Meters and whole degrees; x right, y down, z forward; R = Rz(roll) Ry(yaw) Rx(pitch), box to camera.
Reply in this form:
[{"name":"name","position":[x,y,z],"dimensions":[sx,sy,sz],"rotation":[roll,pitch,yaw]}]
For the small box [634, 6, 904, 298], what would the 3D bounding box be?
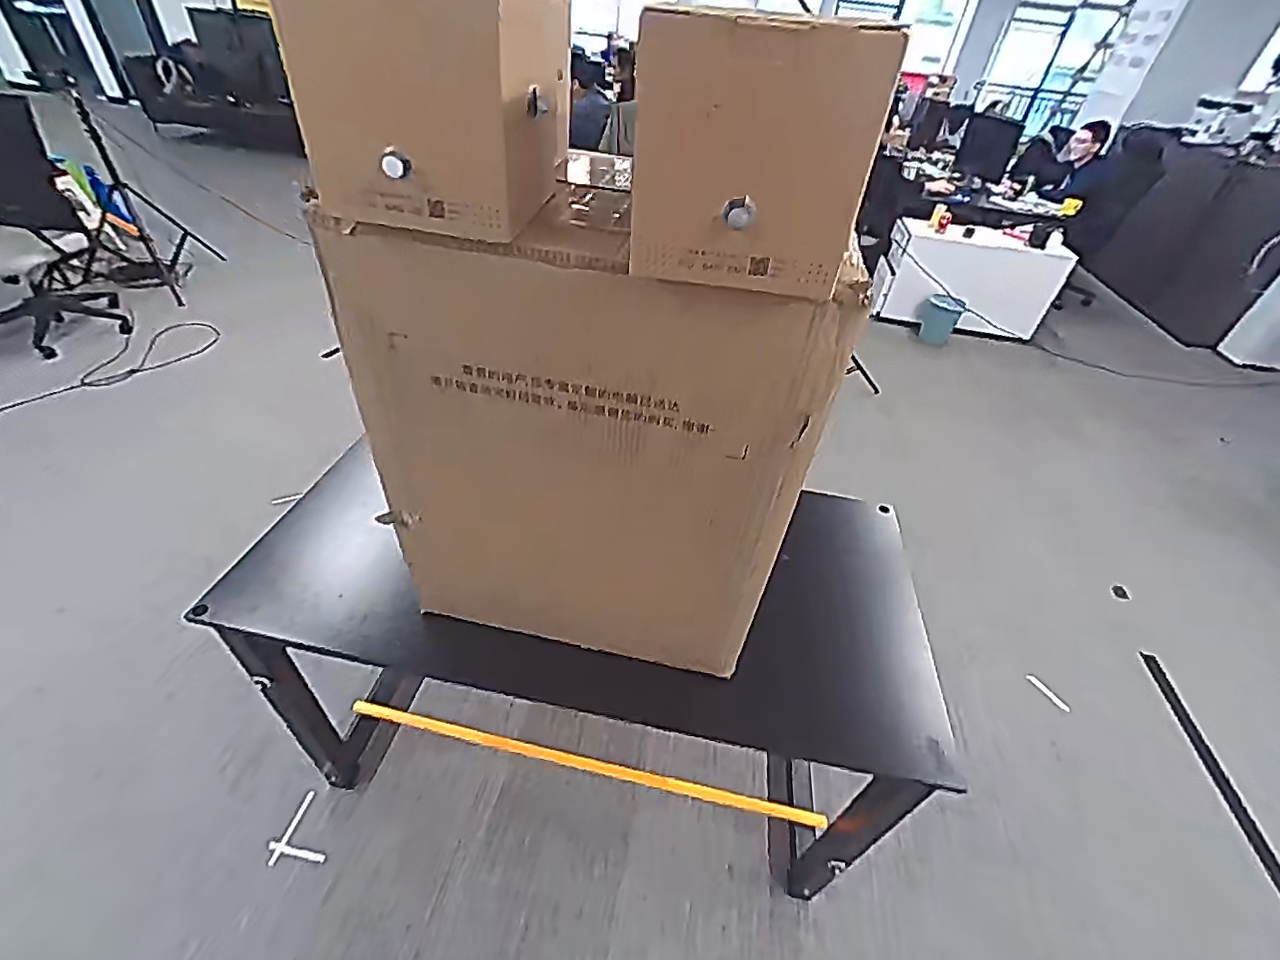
[{"name":"small box","position":[0.090,-0.273,0.448],"dimensions":[0.168,0.176,0.179],"rotation":[9,43,6]}]
